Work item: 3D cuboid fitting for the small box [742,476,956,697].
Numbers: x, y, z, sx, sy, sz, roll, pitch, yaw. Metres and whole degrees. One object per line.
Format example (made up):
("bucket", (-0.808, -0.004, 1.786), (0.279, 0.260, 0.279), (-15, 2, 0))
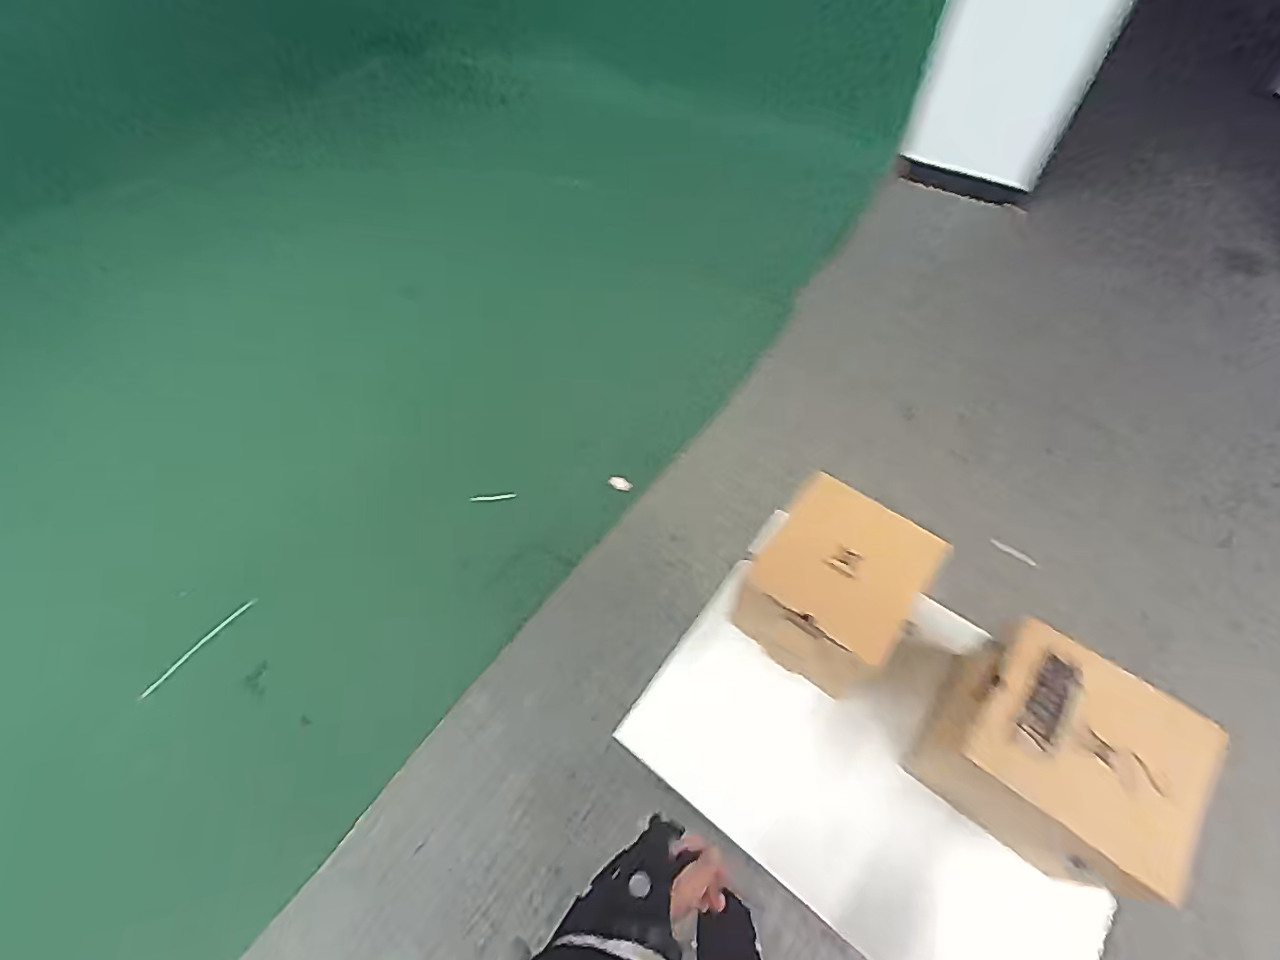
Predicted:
("small box", (0.239, 0.134, 0.664), (0.168, 0.176, 0.179), (34, 67, 22))
